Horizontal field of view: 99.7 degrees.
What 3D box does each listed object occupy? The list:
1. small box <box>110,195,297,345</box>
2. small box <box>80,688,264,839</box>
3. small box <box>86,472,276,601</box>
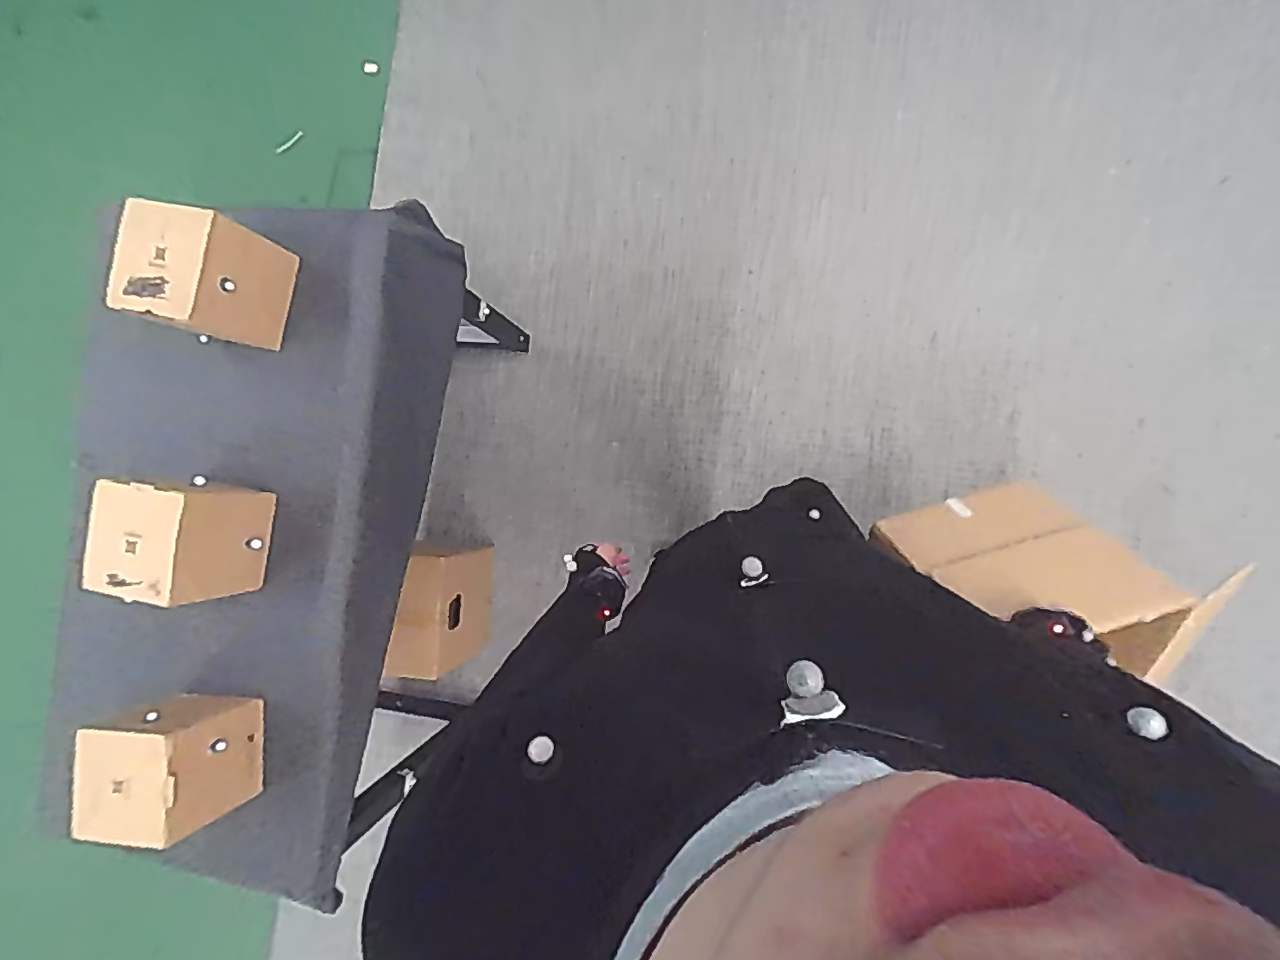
[{"bbox_3d":[-0.720,-0.342,0.910,0.168,0.176,0.179,13,90,10],"label":"small box"},{"bbox_3d":[-0.765,0.458,0.900,0.179,0.176,0.168,-2,86,12],"label":"small box"},{"bbox_3d":[-0.755,0.088,0.907,0.168,0.176,0.179,9,89,10],"label":"small box"}]
